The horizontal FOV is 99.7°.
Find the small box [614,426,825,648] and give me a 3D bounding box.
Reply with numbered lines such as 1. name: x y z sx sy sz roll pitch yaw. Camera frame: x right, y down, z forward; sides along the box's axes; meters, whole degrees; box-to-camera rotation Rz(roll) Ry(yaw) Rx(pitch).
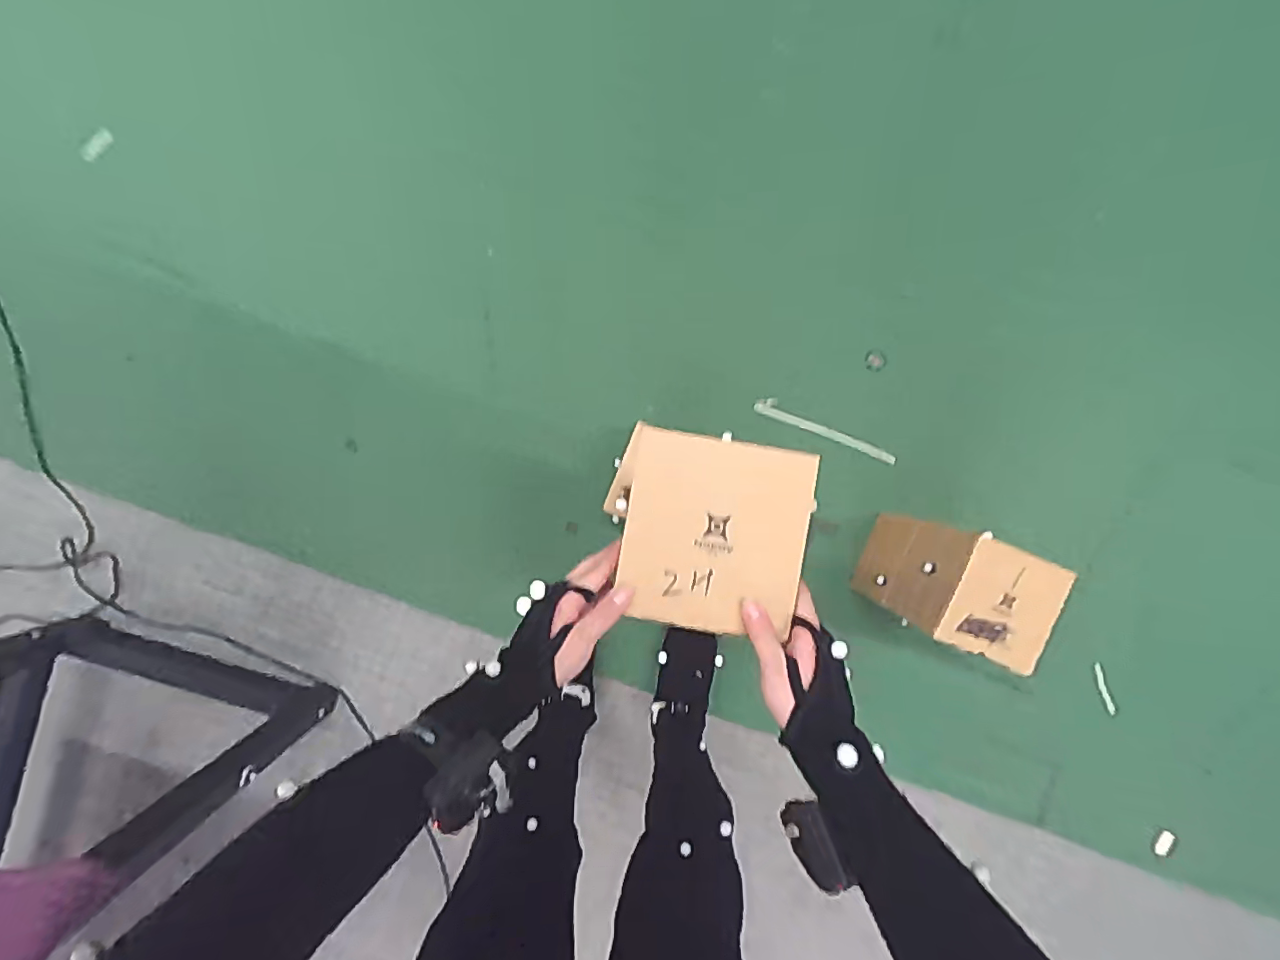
1. small box: 0.072 0.050 0.561 0.168 0.176 0.179 10 91 2

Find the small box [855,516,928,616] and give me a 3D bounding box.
1. small box: 0.552 0.182 1.063 0.168 0.176 0.179 21 93 -1

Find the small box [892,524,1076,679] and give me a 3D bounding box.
1. small box: 0.552 0.190 0.899 0.168 0.176 0.179 23 93 -2
